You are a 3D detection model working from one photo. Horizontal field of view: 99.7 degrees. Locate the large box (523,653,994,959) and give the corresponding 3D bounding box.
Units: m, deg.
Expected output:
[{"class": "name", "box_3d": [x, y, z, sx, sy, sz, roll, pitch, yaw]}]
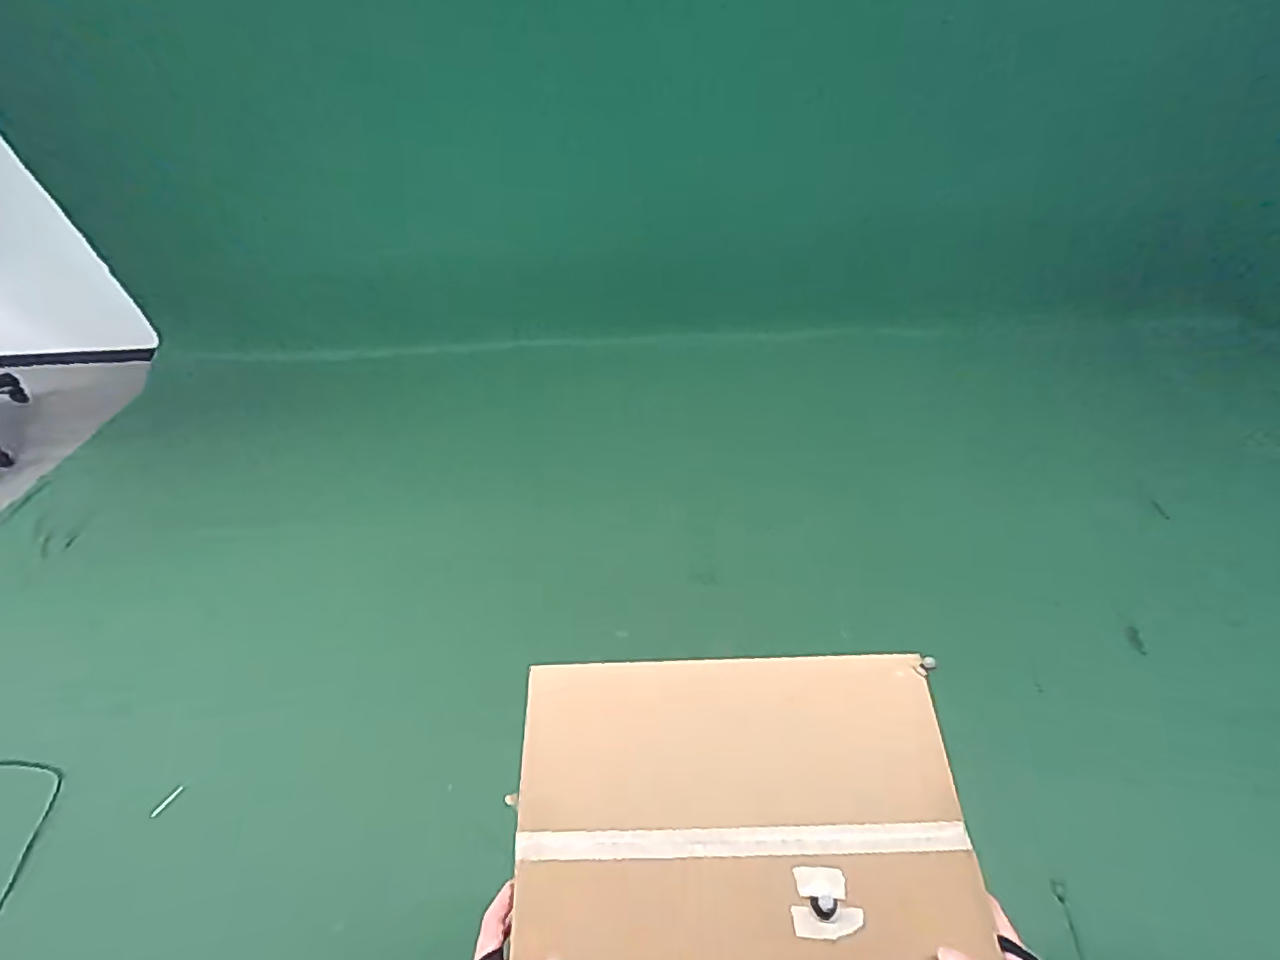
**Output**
[{"class": "large box", "box_3d": [0.098, 0.399, 0.628, 0.408, 0.320, 0.320, -3, 62, 1]}]
